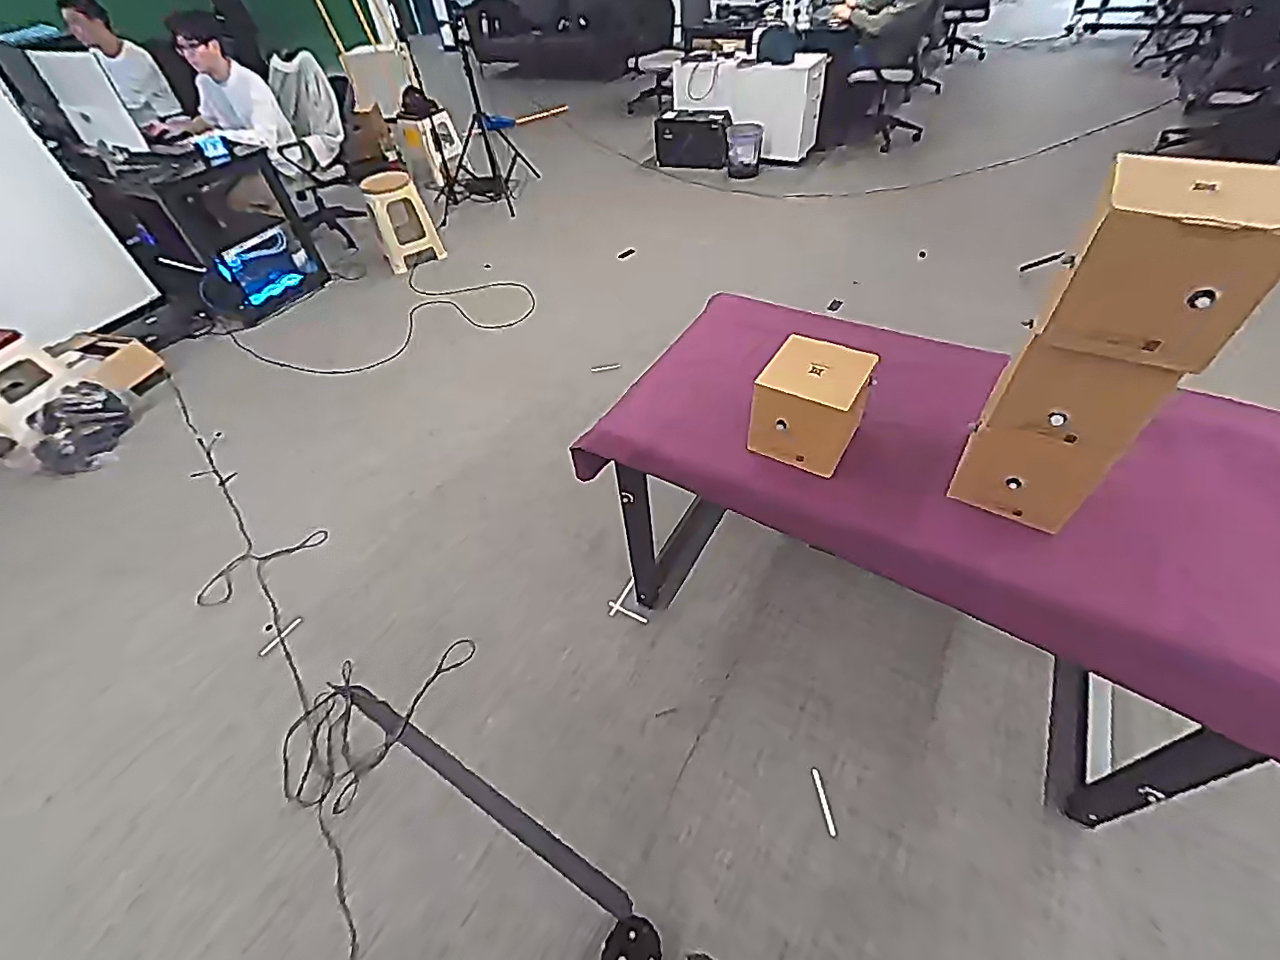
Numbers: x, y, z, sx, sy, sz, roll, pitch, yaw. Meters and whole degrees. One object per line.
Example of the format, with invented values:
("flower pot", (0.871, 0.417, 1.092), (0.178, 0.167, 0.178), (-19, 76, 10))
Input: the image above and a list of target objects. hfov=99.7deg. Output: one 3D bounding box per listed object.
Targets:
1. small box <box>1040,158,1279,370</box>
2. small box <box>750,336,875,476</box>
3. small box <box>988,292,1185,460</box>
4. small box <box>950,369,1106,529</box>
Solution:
("small box", (0.610, -0.256, 0.643), (0.168, 0.176, 0.179), (21, 53, 22))
("small box", (0.315, -0.137, 1.010), (0.168, 0.176, 0.179), (23, 52, 24))
("small box", (0.633, -0.162, 0.775), (0.168, 0.176, 0.179), (24, 55, 25))
("small box", (0.640, -0.050, 0.895), (0.168, 0.176, 0.179), (24, 54, 25))
